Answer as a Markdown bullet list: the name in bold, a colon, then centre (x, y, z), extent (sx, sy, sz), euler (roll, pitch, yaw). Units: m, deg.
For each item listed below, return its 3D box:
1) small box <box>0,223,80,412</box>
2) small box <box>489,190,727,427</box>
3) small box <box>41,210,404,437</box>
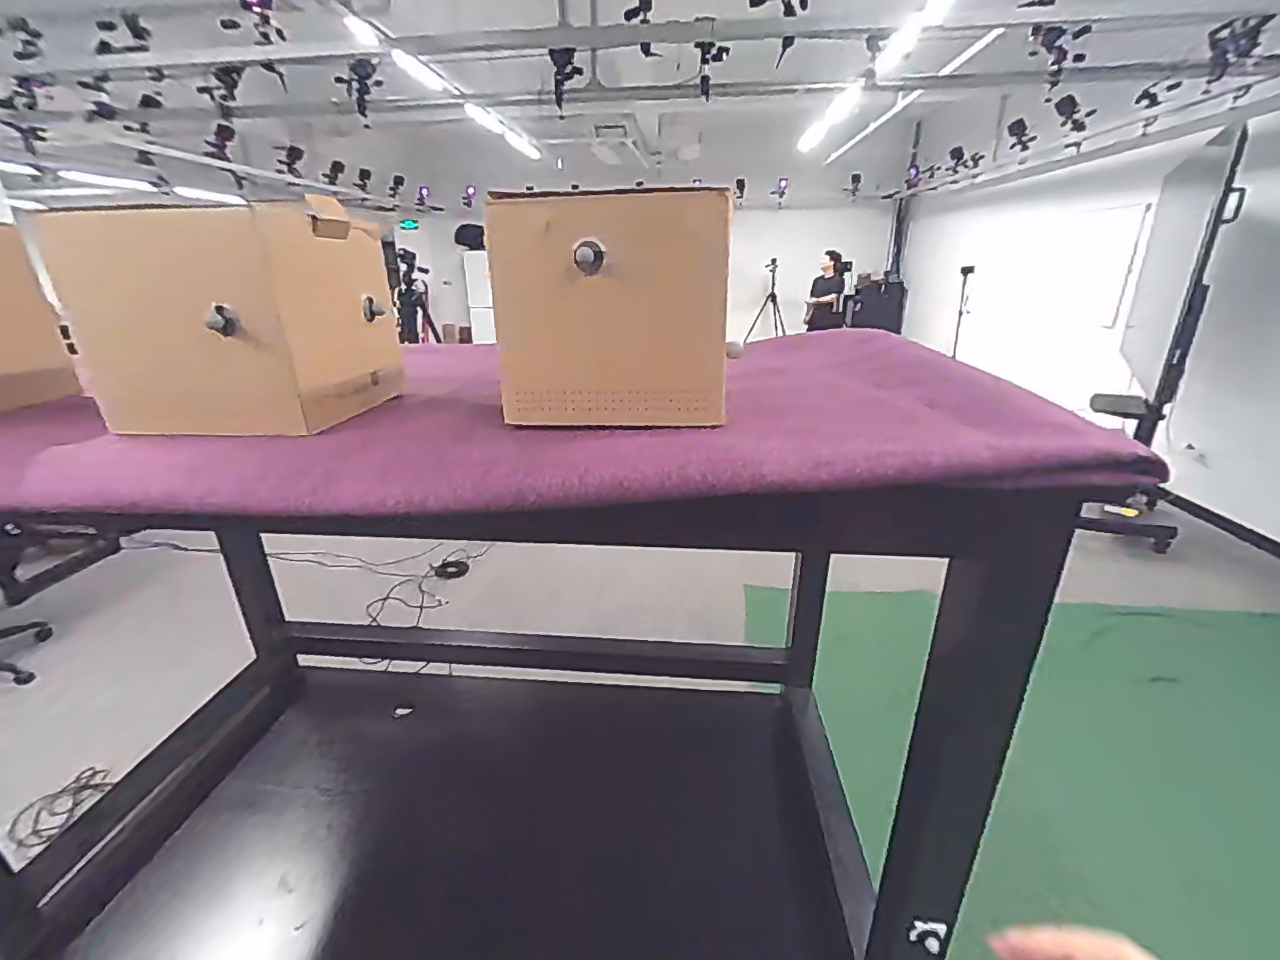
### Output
- **small box**: centre (-0.680, -0.139, 0.481), extent (0.168, 0.176, 0.179), euler (2, 22, 3)
- **small box**: centre (-0.014, -0.144, 0.479), extent (0.179, 0.176, 0.168), euler (2, 19, 7)
- **small box**: centre (-0.337, -0.138, 0.483), extent (0.179, 0.176, 0.168), euler (0, 20, 4)
